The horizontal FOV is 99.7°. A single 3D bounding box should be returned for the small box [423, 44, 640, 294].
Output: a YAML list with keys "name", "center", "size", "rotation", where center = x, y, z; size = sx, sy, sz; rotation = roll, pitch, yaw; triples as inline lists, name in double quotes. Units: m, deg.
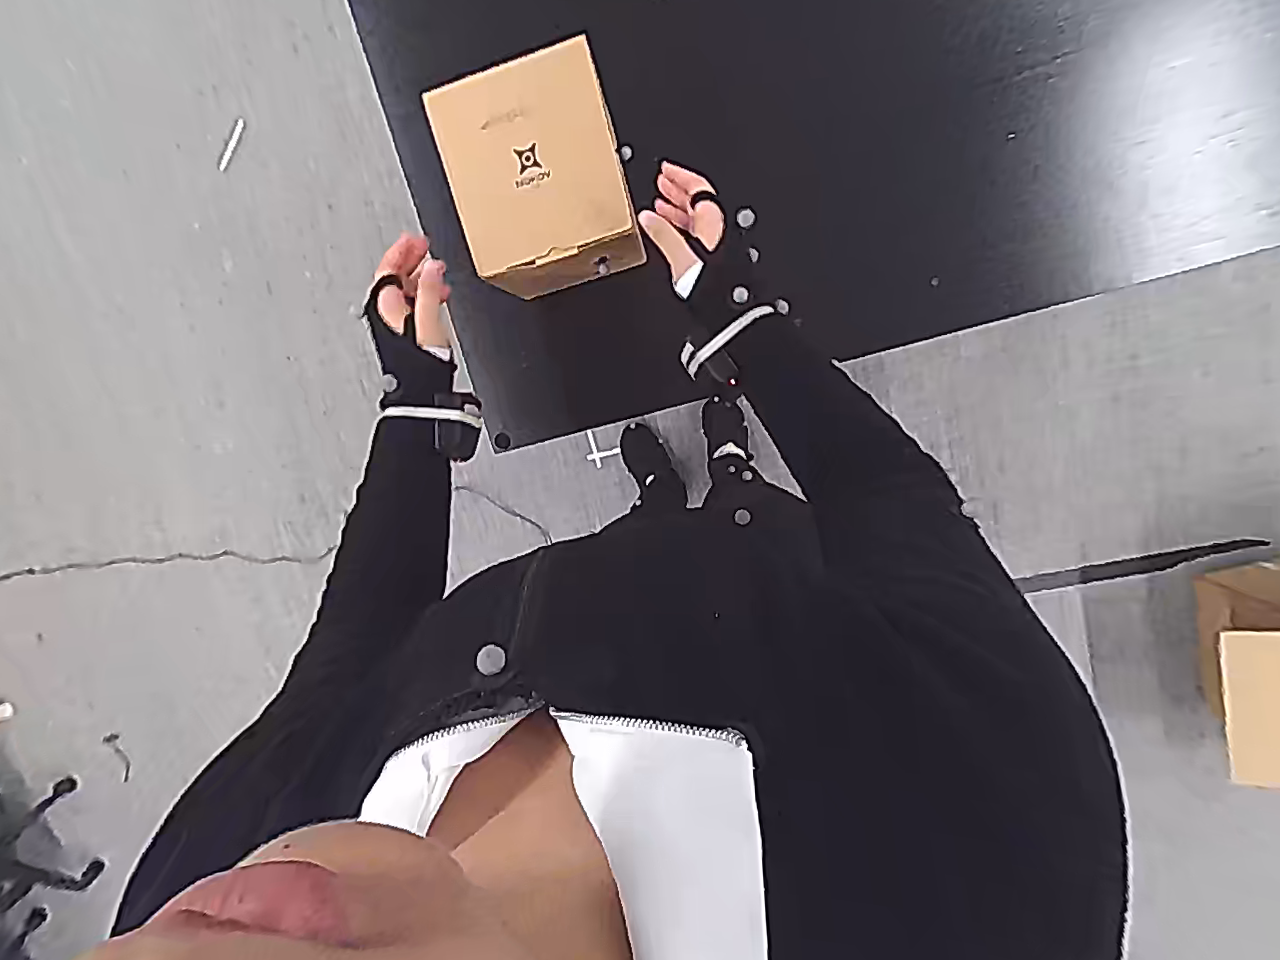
- name: "small box"
  center: [-0.102, -0.316, 0.599]
  size: [0.168, 0.176, 0.179]
  rotation: [-15, 99, 7]
